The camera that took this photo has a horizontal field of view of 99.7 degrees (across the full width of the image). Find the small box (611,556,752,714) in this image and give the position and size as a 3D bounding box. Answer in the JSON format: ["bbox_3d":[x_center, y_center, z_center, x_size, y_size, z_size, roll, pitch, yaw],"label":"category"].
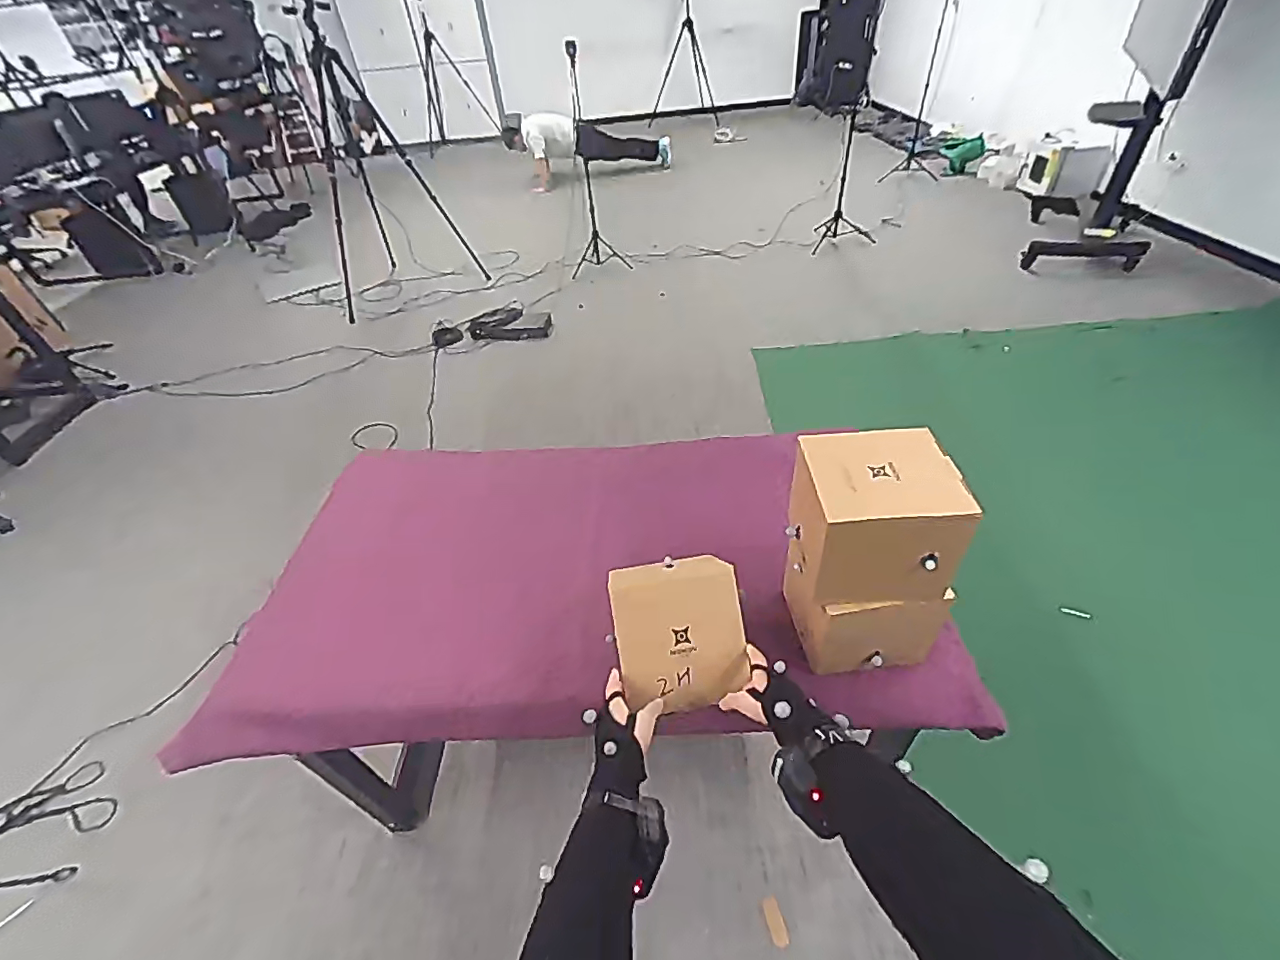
[{"bbox_3d":[0.049,0.207,0.772,0.168,0.176,0.179,-9,87,-2],"label":"small box"}]

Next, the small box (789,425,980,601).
[{"bbox_3d":[0.307,0.047,0.725,0.179,0.176,0.168,-4,42,5],"label":"small box"}]

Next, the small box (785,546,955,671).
[{"bbox_3d":[0.334,0.171,0.828,0.179,0.176,0.168,-7,42,0],"label":"small box"}]
